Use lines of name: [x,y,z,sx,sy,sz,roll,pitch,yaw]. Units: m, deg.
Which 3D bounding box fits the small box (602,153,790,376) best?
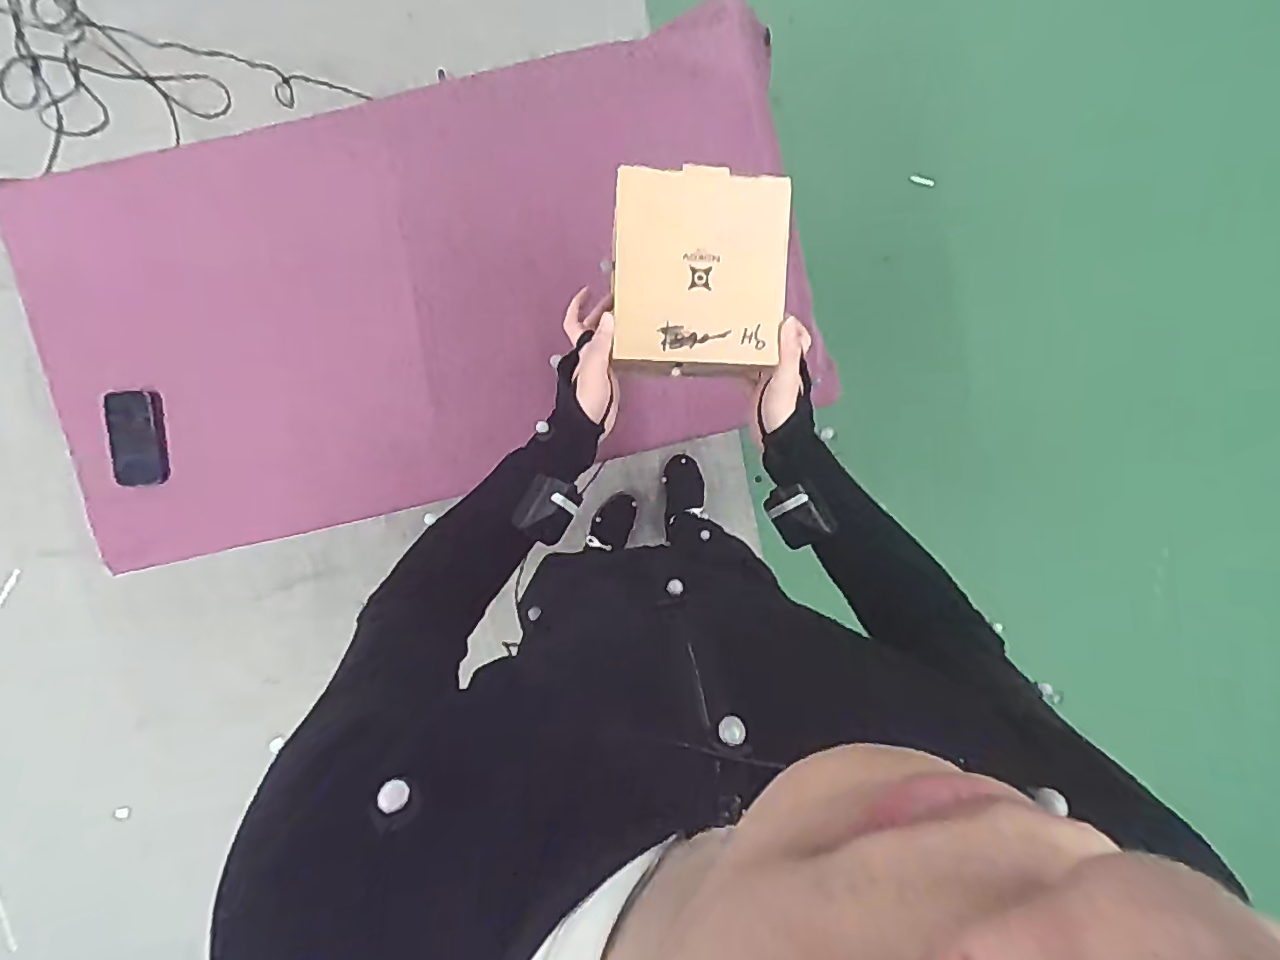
small box: [0.046,-0.209,0.571,0.168,0.176,0.179,2,97,-4]
